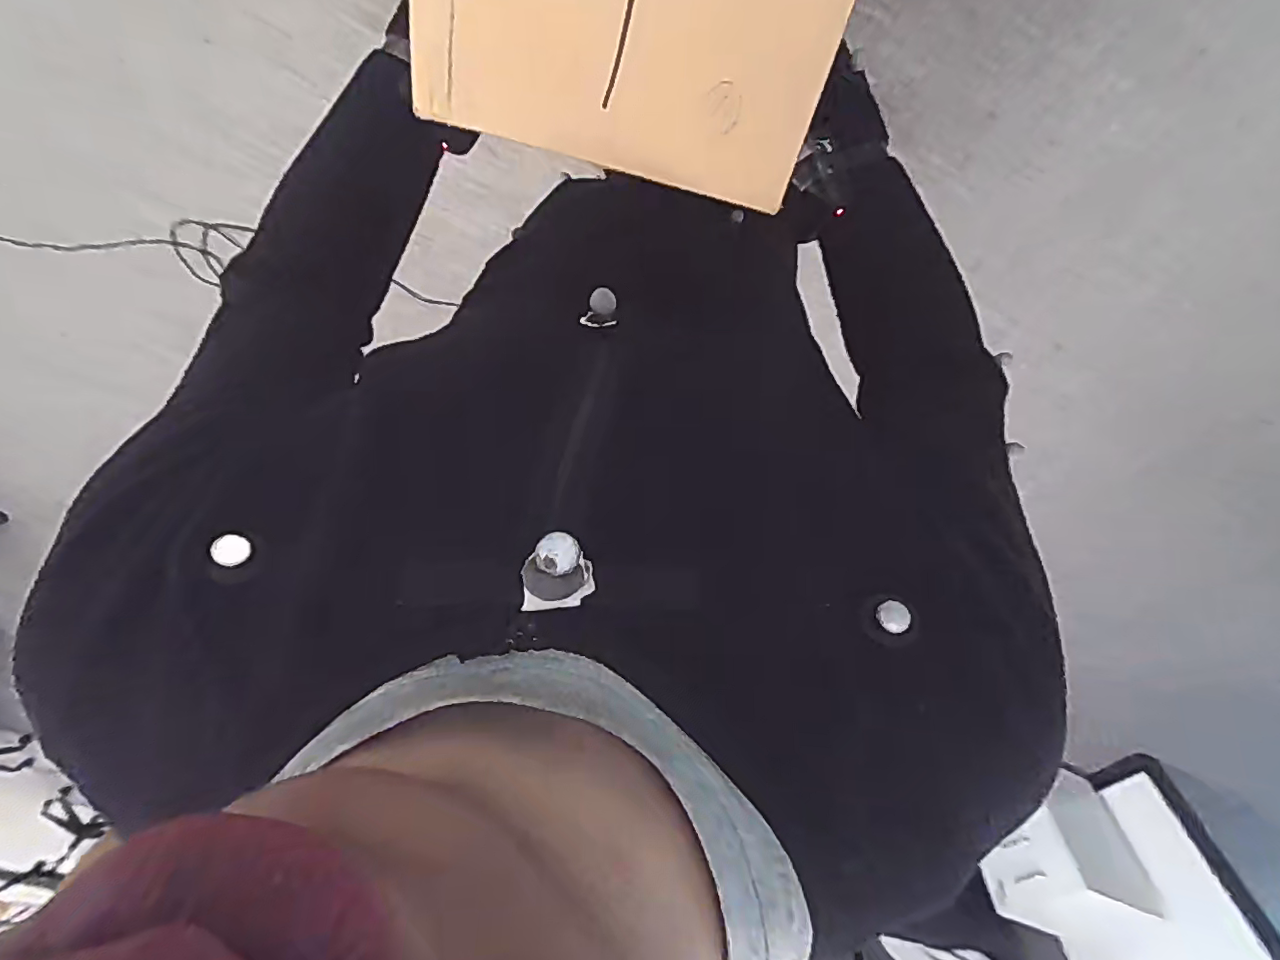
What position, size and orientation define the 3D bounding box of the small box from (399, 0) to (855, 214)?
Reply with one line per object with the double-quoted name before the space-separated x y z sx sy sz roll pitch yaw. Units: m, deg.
"small box" 0.006 -0.251 0.243 0.168 0.176 0.179 13 128 -6
